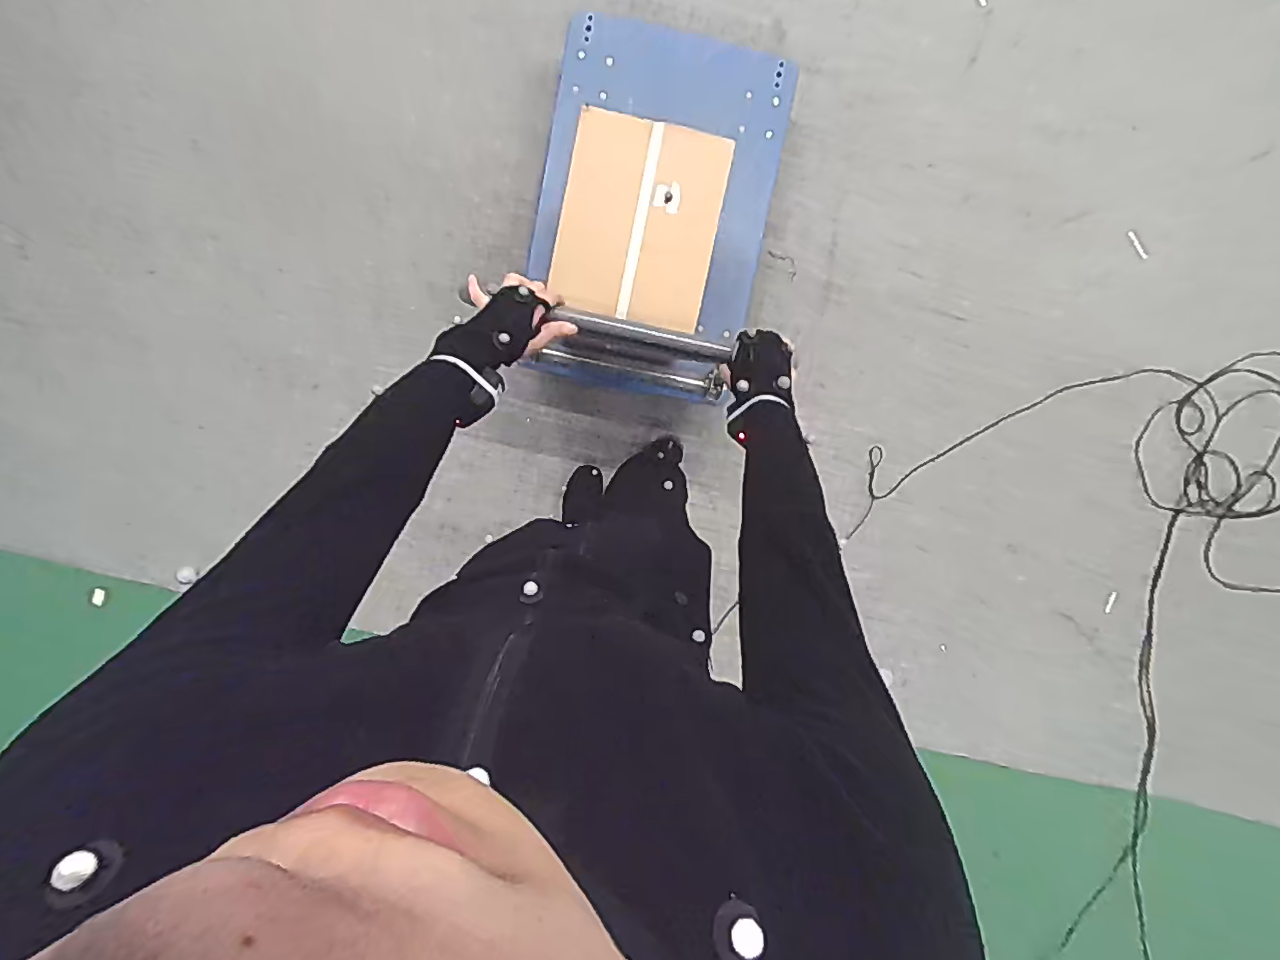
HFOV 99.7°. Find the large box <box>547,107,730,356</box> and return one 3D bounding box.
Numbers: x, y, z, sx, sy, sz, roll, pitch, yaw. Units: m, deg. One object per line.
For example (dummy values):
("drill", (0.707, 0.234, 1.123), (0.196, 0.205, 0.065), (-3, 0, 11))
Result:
("large box", (-0.009, -0.524, 1.230), (0.320, 0.320, 0.408), (11, 95, -4))
